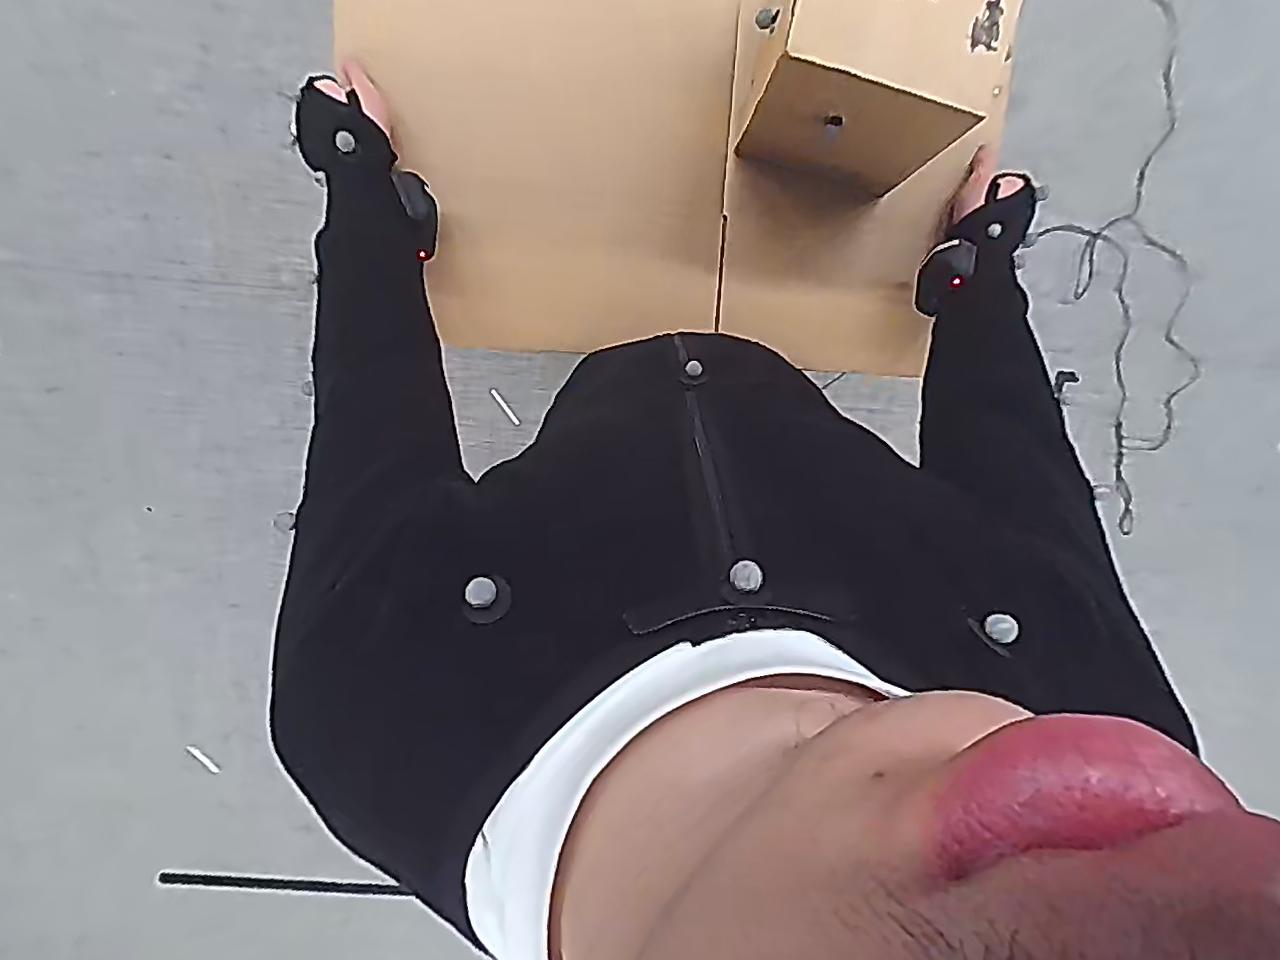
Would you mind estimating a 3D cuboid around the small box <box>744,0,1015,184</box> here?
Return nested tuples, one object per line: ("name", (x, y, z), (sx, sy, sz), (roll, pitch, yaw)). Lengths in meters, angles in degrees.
("small box", (0.210, -0.405, 0.502), (0.179, 0.176, 0.168), (14, 98, -4))
